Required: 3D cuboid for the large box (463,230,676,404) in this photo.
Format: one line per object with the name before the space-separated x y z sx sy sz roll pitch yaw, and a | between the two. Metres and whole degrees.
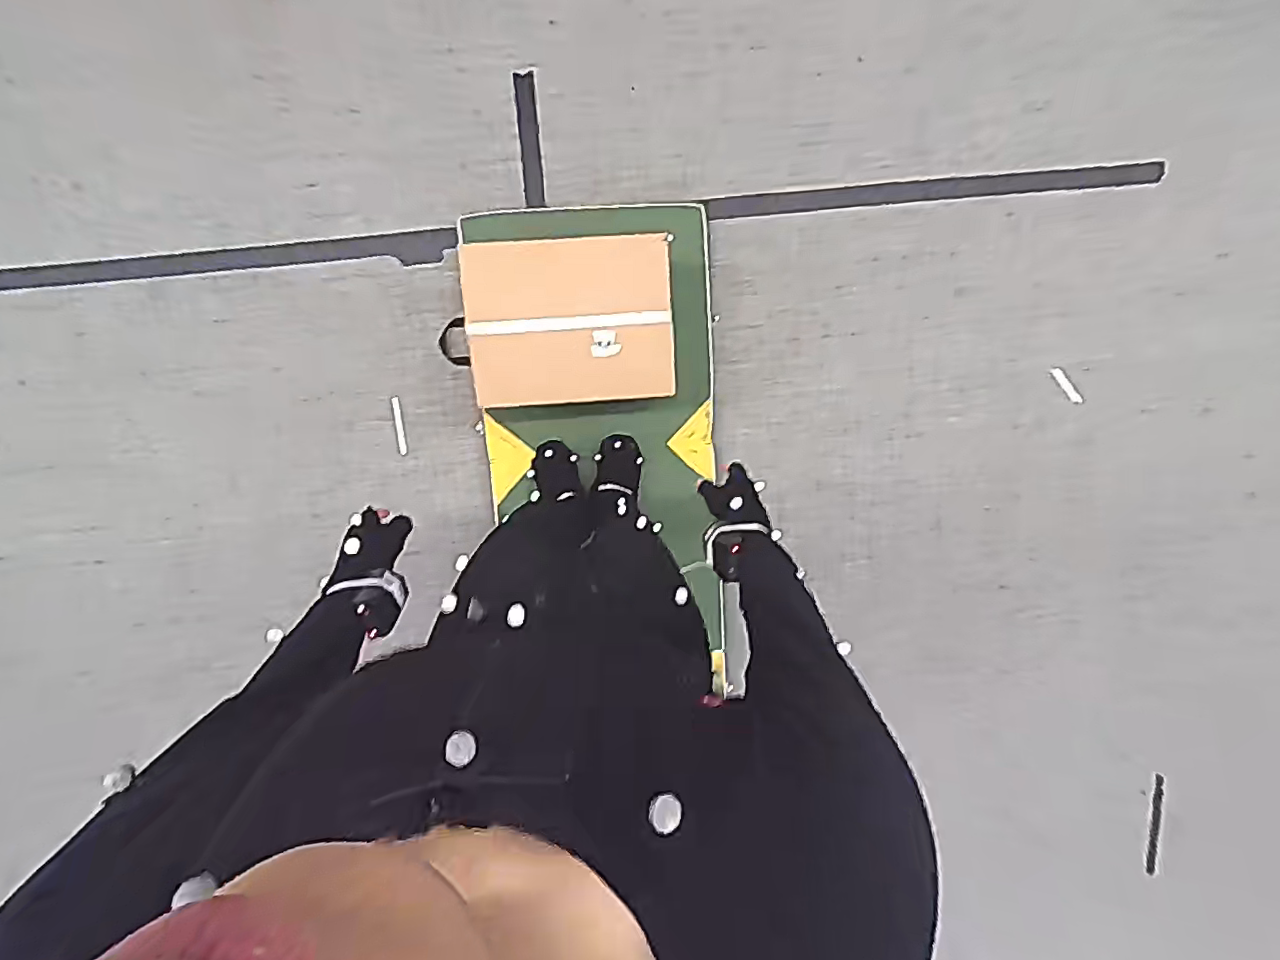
large box | -0.145 -0.351 1.227 0.408 0.320 0.320 -5 102 -3
